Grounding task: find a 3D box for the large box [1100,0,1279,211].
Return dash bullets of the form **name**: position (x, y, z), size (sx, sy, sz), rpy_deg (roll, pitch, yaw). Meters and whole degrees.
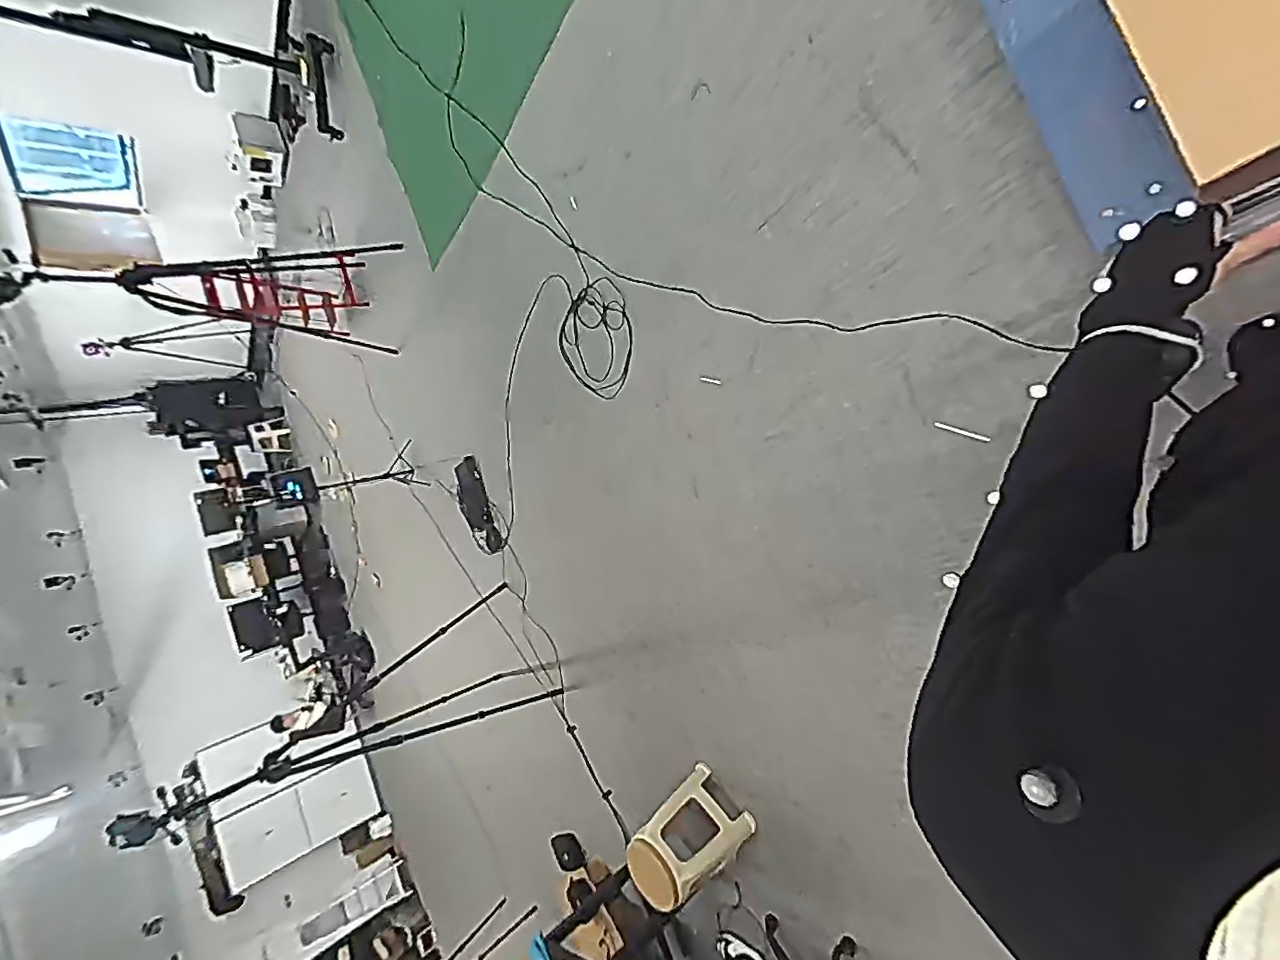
- **large box**: position (0.948, -0.686, 0.793), size (0.320, 0.320, 0.408), rpy_deg (-26, 81, 47)
